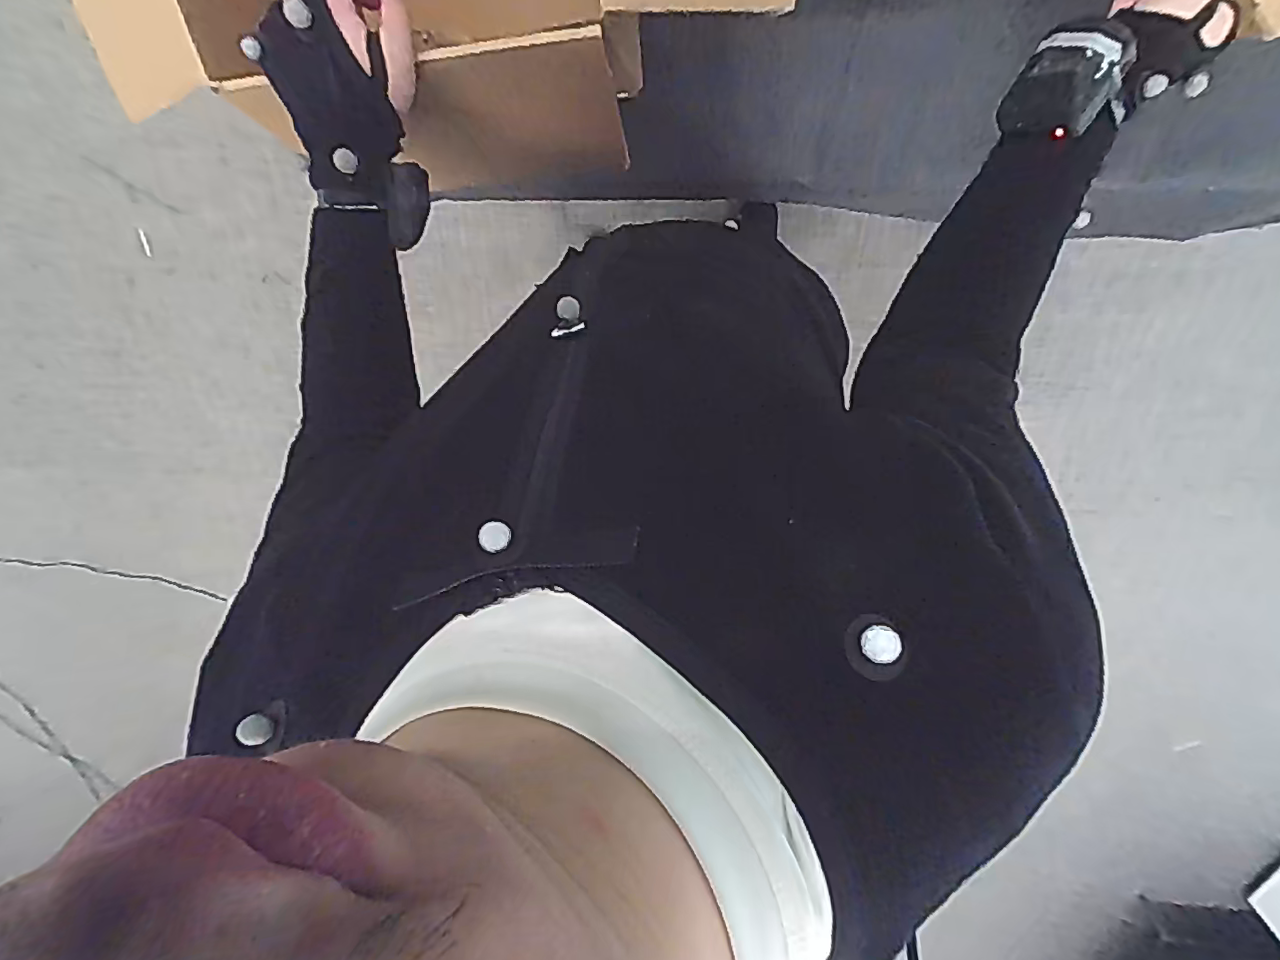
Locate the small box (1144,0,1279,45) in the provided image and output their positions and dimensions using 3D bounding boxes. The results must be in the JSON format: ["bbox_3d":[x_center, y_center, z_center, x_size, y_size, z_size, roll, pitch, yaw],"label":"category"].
[{"bbox_3d":[0.479,-0.470,0.395,0.168,0.176,0.179,37,131,-15],"label":"small box"}]
